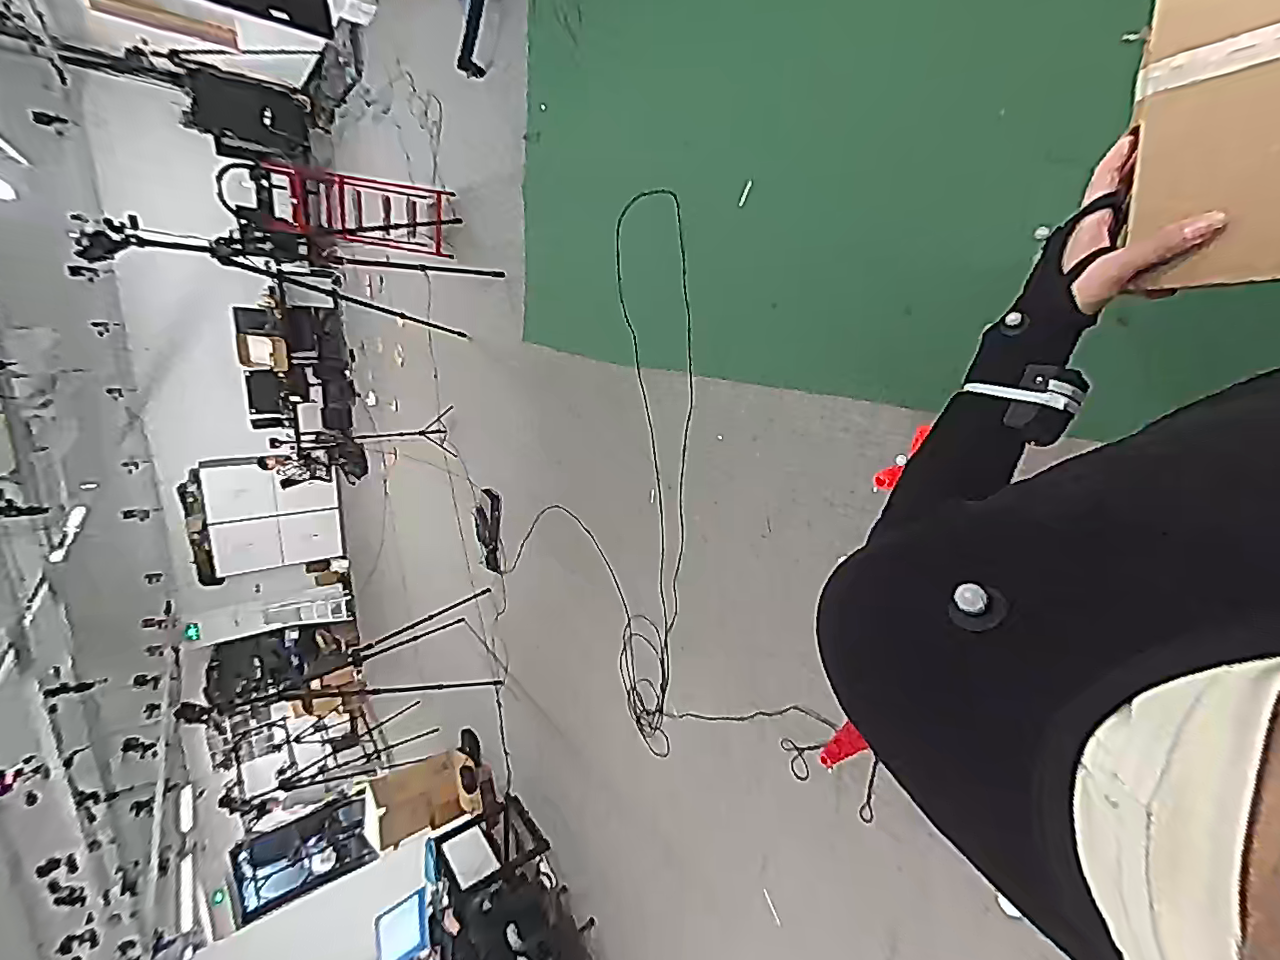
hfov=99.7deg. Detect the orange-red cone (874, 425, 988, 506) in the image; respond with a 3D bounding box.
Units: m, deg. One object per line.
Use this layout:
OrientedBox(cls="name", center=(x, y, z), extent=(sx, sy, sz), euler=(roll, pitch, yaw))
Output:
OrientedBox(cls="orange-red cone", center=(0.746, -0.026, 1.472), extent=(0.199, 0.360, 0.198), euler=(33, 121, 46))
